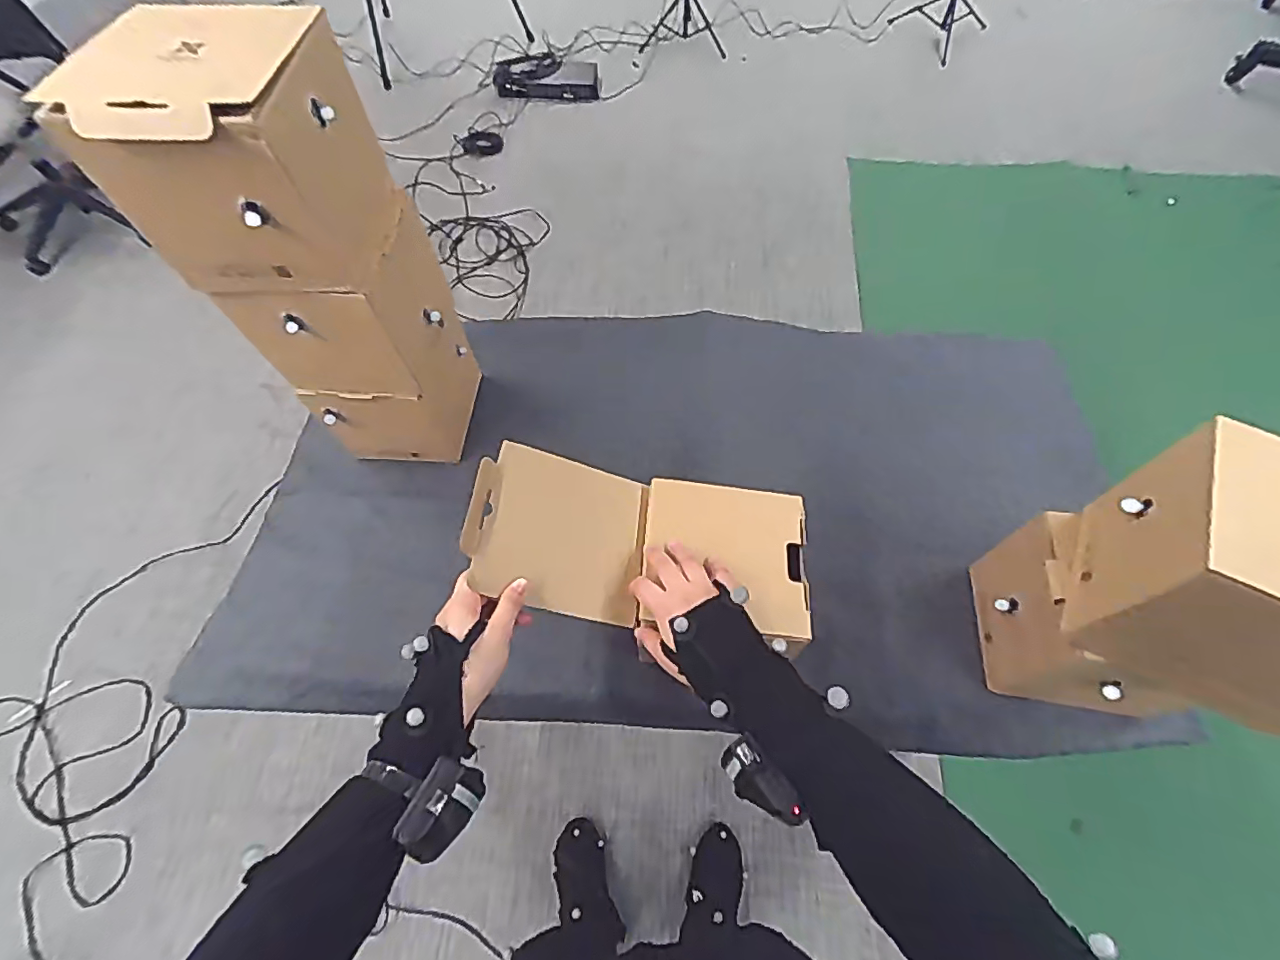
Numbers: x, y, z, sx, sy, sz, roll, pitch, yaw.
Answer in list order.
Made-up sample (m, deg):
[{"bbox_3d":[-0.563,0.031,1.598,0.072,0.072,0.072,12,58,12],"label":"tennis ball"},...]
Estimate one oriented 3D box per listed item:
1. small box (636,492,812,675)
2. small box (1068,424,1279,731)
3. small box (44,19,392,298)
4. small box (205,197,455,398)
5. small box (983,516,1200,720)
[{"bbox_3d":[0.092,0.129,0.641,0.179,0.176,0.168,3,60,5],"label":"small box"},{"bbox_3d":[0.516,0.090,0.461,0.179,0.176,0.168,27,62,16],"label":"small box"},{"bbox_3d":[-0.358,-0.291,0.507,0.168,0.176,0.179,0,61,0],"label":"small box"},{"bbox_3d":[-0.348,-0.213,0.649,0.179,0.176,0.168,3,63,3],"label":"small box"},{"bbox_3d":[0.517,0.161,0.609,0.179,0.176,0.168,8,59,7],"label":"small box"}]
